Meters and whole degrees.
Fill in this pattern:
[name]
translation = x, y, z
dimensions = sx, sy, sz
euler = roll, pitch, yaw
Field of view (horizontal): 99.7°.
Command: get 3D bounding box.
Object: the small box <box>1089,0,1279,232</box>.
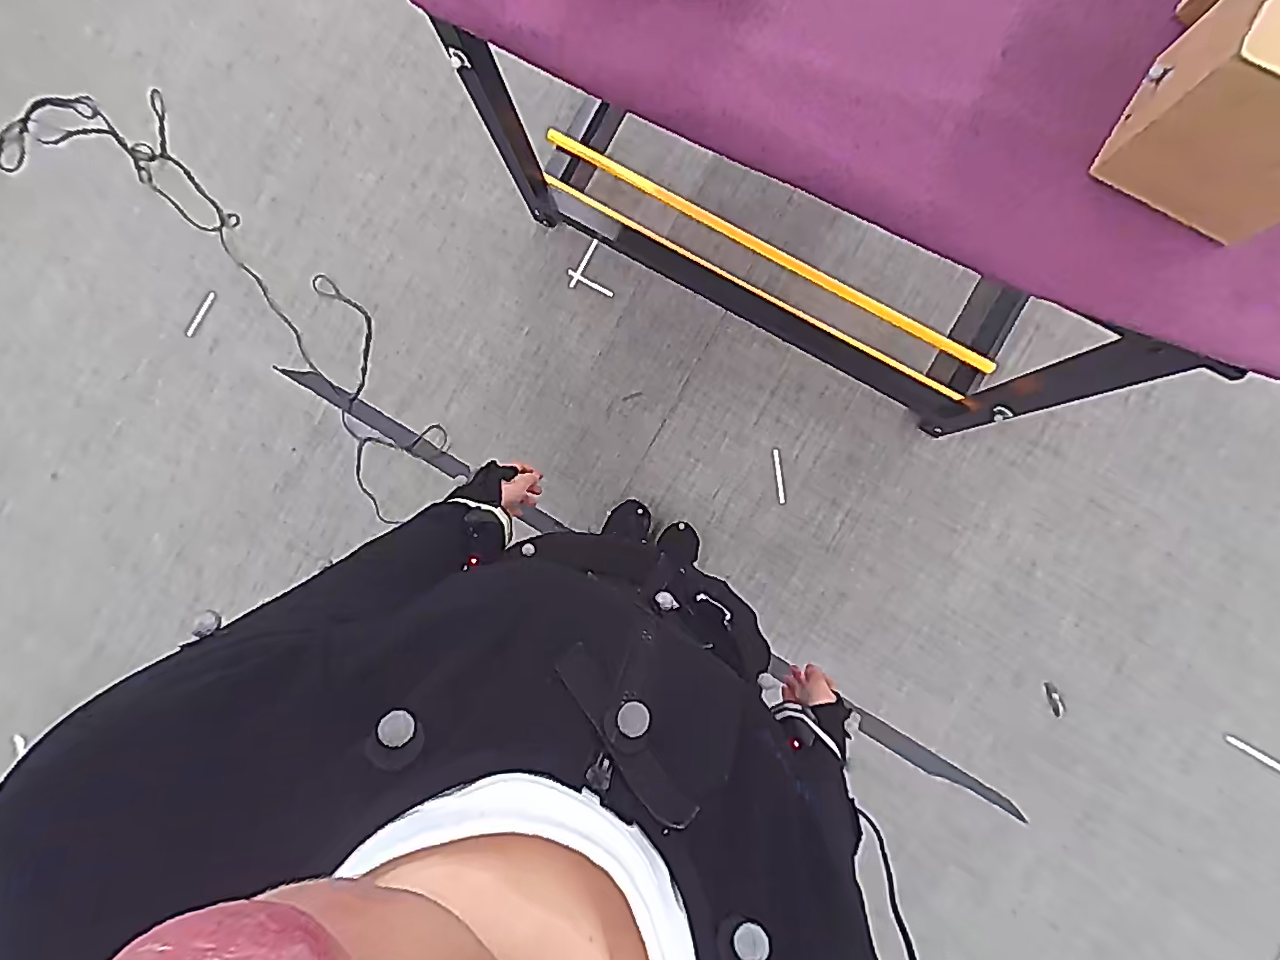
[small box]
translation = 0.630, -0.386, 0.547
dimensions = 0.179, 0.176, 0.168
euler = 32, 89, 5
